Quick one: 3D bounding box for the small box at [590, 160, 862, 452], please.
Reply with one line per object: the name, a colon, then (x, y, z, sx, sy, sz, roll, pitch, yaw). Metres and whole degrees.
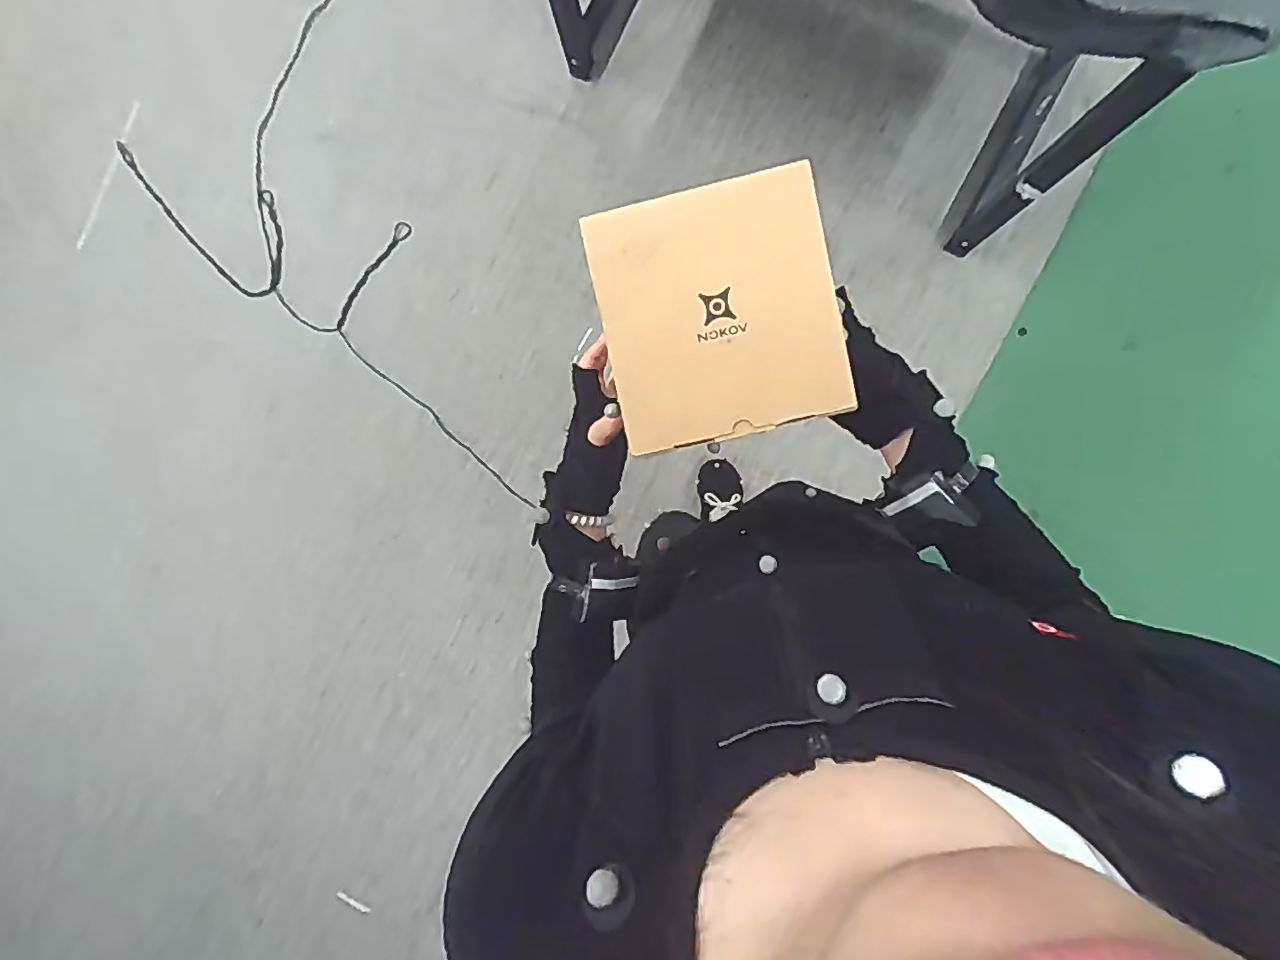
small box: (0.061, -0.126, 0.460, 0.168, 0.176, 0.179, -13, 95, 2)
